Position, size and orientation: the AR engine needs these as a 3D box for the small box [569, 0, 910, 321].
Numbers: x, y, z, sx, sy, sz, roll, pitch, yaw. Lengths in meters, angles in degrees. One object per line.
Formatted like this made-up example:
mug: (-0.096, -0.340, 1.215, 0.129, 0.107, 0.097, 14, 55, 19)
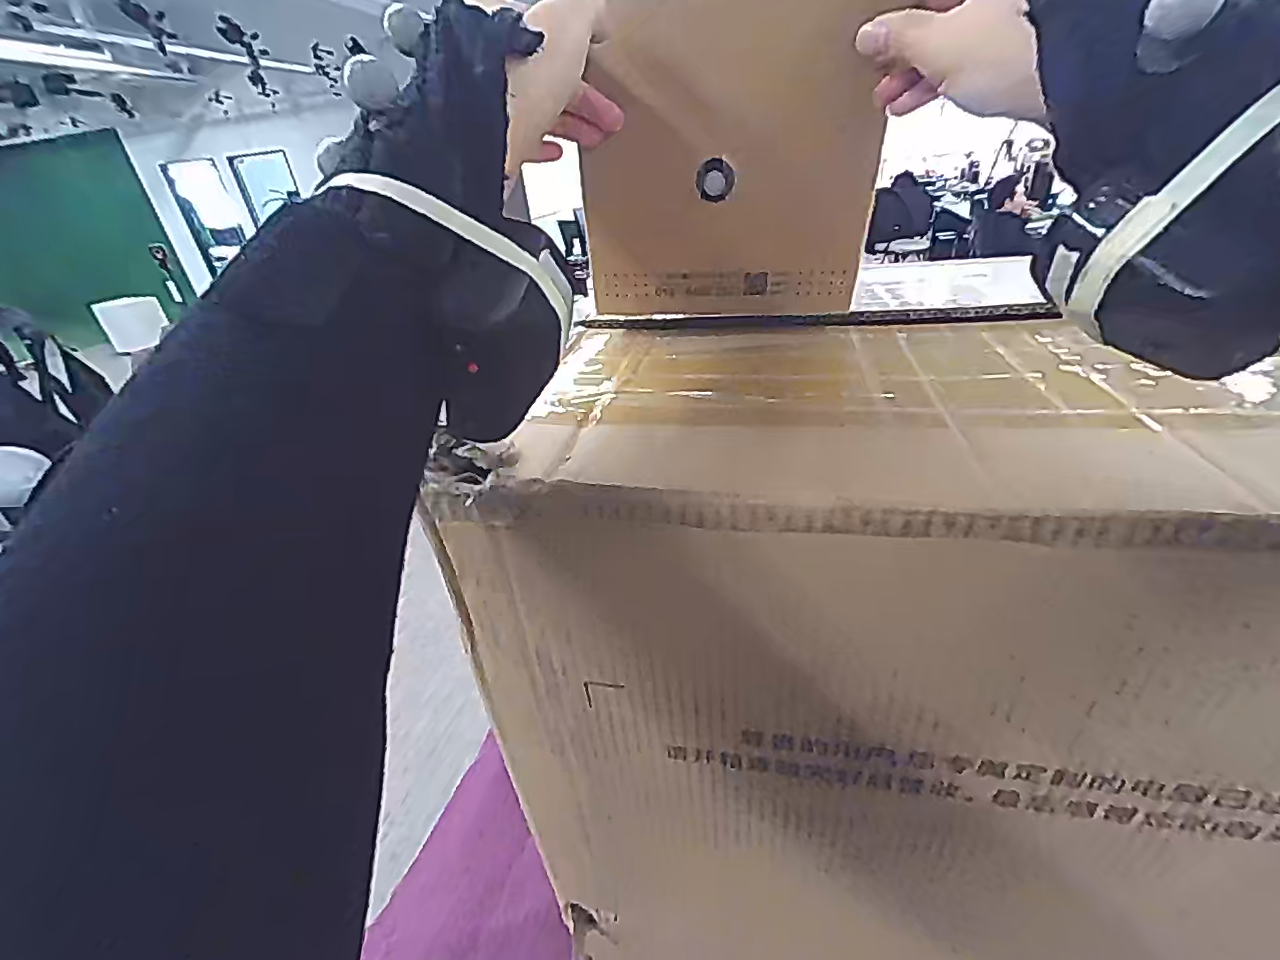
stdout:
small box: (0.060, -0.219, 0.366, 0.168, 0.176, 0.179, 3, 41, 7)
